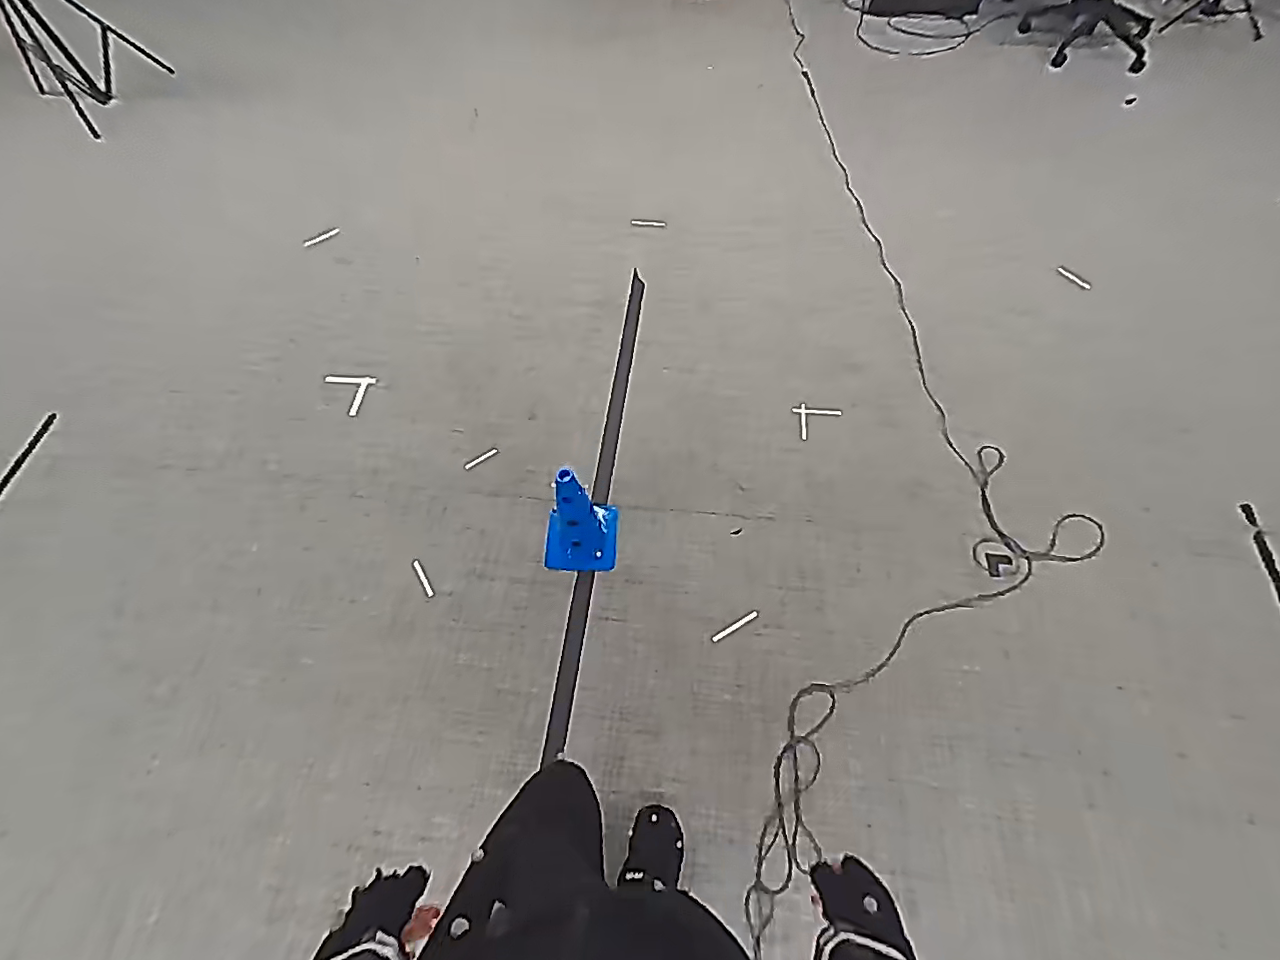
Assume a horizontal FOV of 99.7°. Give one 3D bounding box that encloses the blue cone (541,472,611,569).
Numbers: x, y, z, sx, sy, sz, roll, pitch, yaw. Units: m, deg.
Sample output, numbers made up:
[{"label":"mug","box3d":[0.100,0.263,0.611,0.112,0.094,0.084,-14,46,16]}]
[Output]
[{"label":"blue cone","box3d":[-0.186,0.086,1.399,0.192,0.380,0.193,2,61,3]}]
